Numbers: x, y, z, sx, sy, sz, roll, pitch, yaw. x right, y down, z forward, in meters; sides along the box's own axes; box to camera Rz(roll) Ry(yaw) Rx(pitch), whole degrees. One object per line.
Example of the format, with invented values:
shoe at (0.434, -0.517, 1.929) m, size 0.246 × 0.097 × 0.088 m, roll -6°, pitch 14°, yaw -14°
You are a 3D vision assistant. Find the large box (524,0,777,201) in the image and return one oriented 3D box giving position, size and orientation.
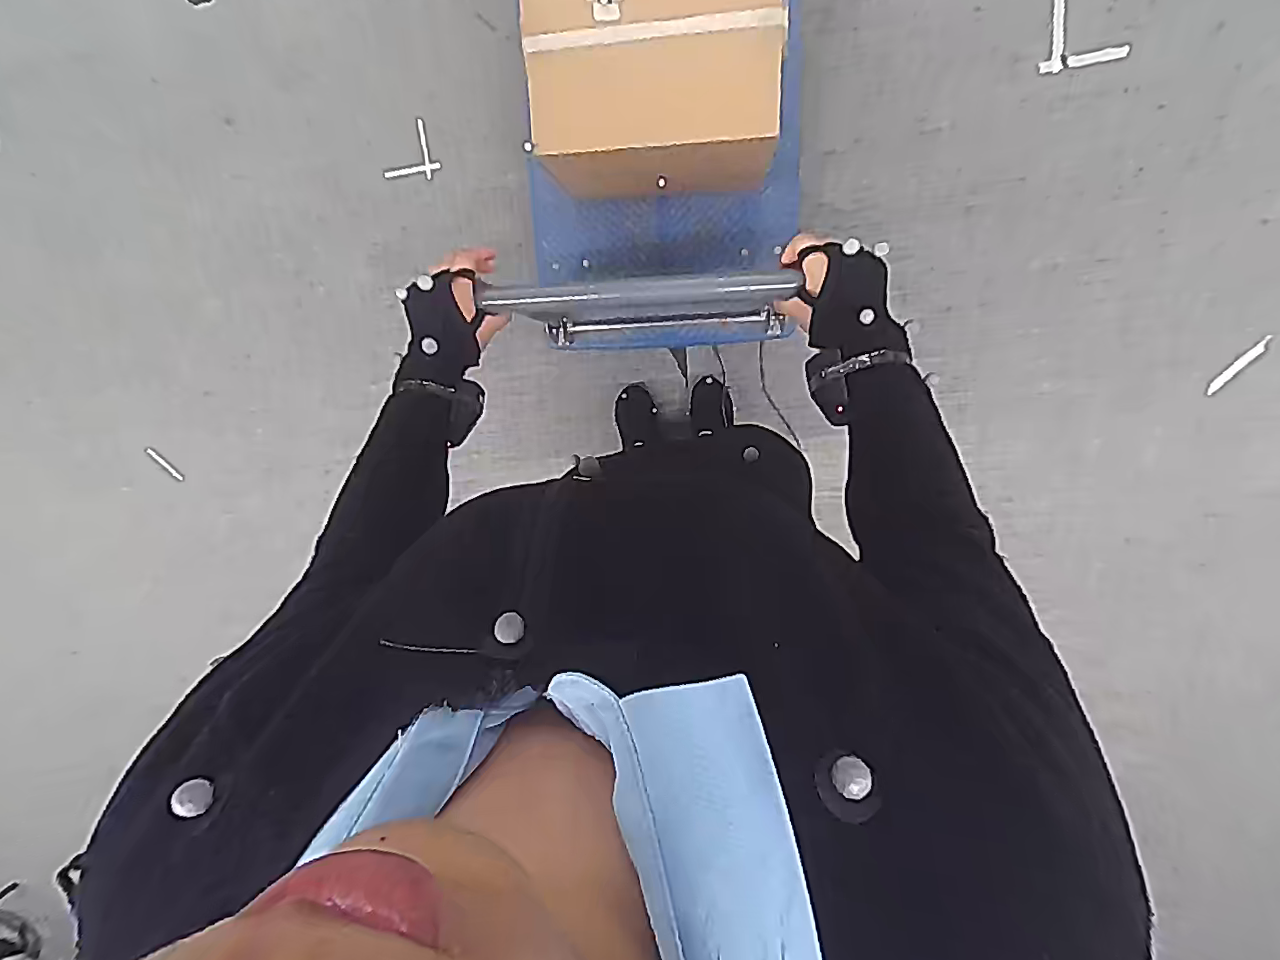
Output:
large box at (0.034, -0.733, 0.999) m, size 0.408 × 0.320 × 0.320 m, roll 0°, pitch 103°, yaw 8°
